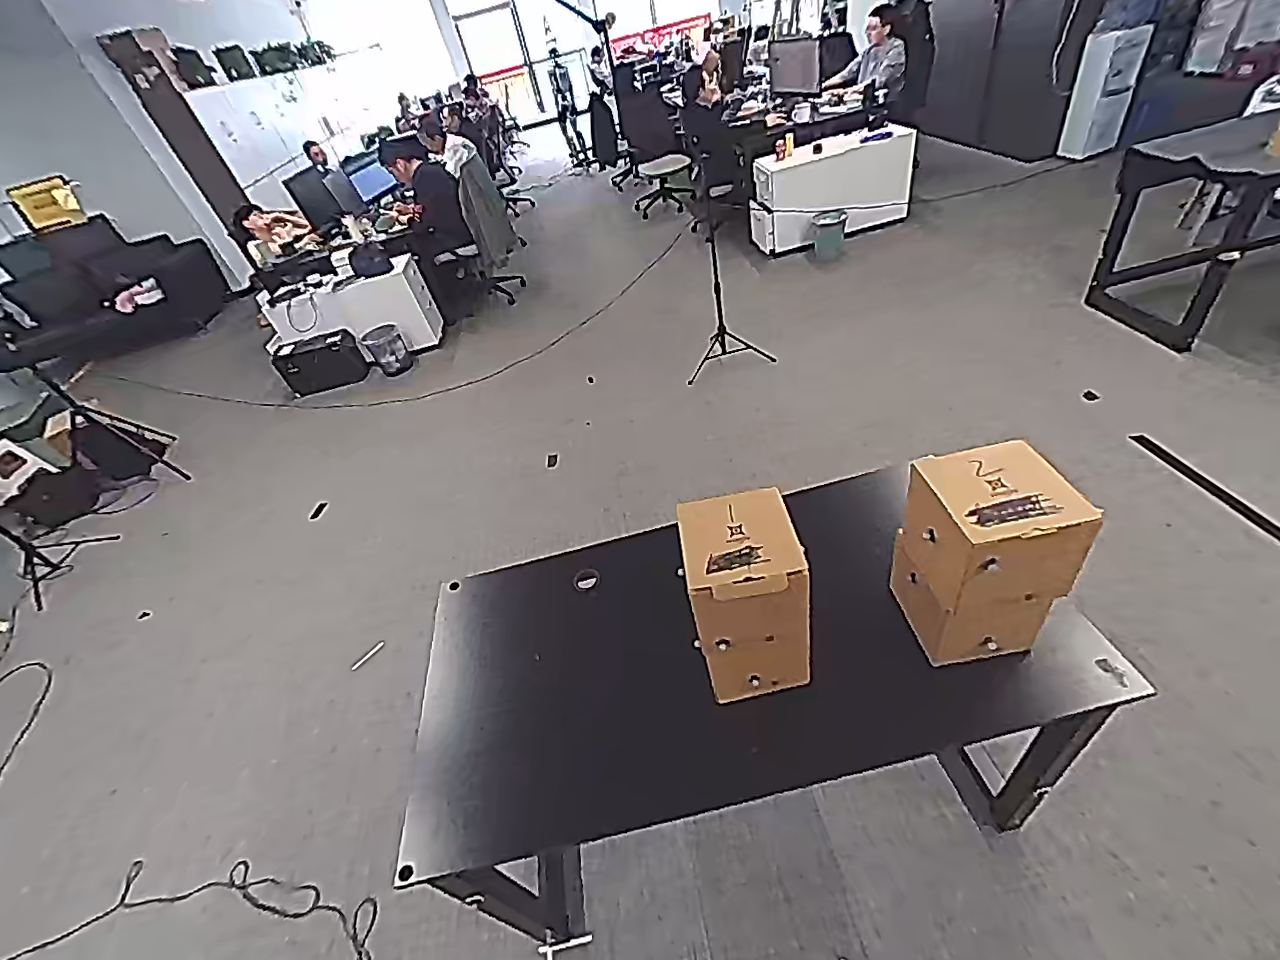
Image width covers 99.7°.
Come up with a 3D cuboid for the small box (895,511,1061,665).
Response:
[{"bbox_3d":[0.549,0.182,0.911,0.168,0.176,0.179,-13,41,5],"label":"small box"}]

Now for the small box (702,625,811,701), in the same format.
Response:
[{"bbox_3d":[0.188,0.255,0.949,0.168,0.176,0.179,-14,41,2],"label":"small box"}]

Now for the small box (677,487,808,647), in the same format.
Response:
[{"bbox_3d":[0.157,0.140,0.835,0.168,0.176,0.179,-11,41,5],"label":"small box"}]
